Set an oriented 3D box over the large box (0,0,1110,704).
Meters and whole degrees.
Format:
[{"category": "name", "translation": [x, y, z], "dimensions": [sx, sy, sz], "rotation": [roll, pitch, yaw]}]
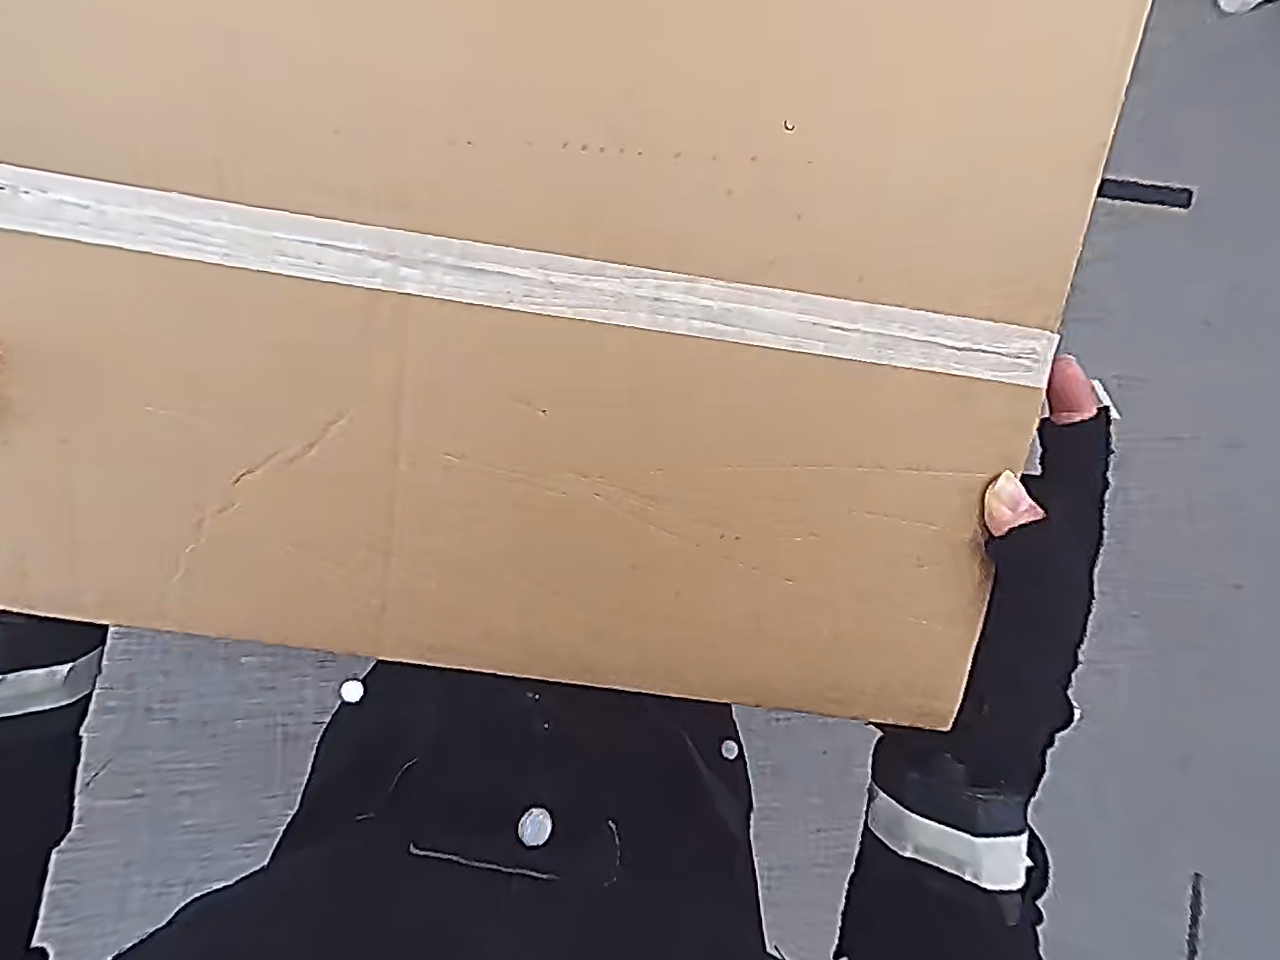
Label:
[{"category": "large box", "translation": [-0.047, -0.097, 0.356], "dimensions": [0.408, 0.320, 0.320], "rotation": [8, 99, -3]}]
